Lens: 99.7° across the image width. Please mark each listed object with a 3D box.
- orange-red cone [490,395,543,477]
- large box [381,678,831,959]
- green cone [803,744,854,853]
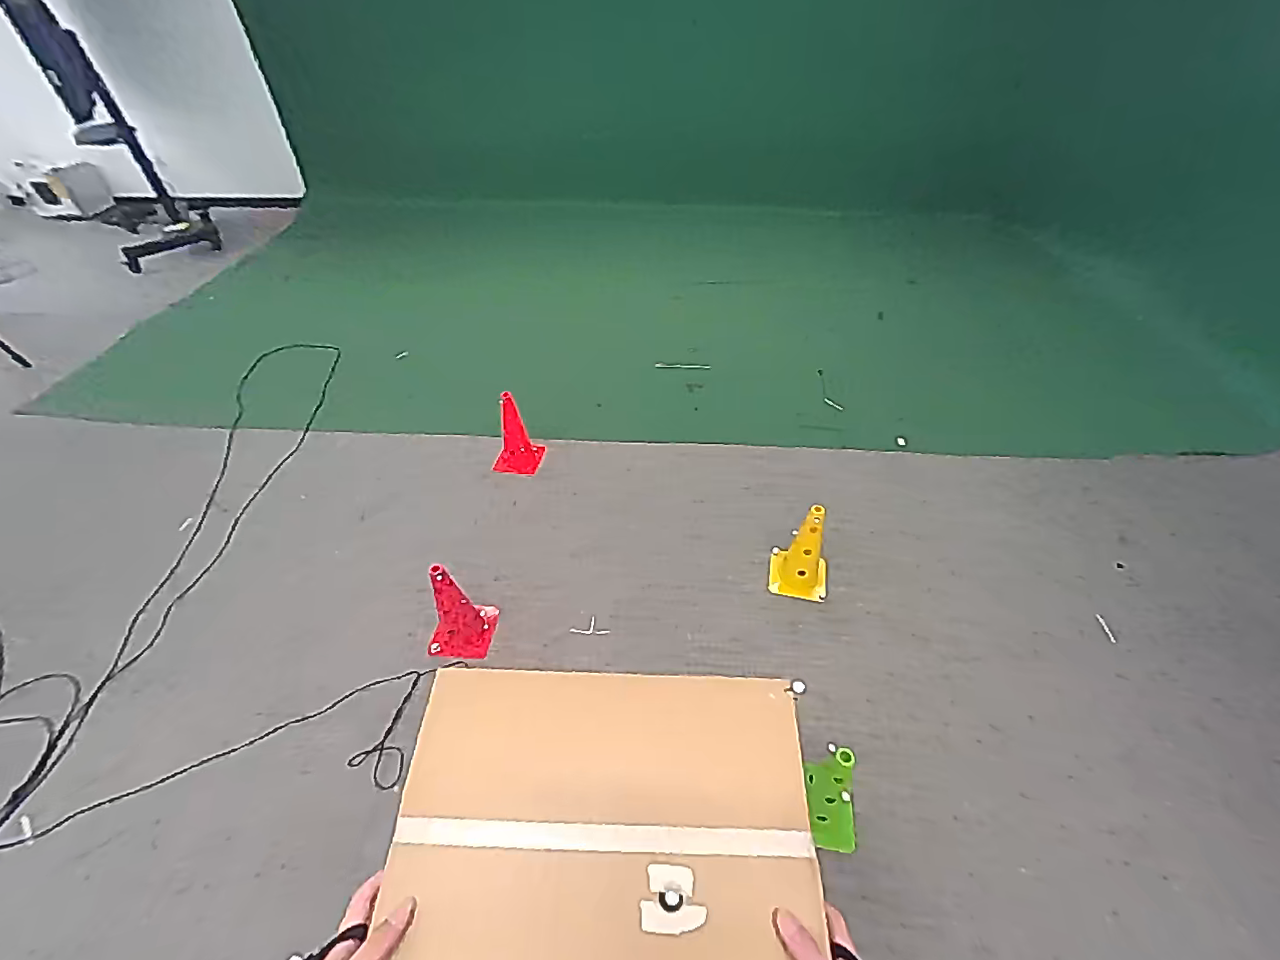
[{"bbox_3d":[-0.563,-0.210,2.331,0.199,0.360,0.198,6,44,9],"label":"orange-red cone"},{"bbox_3d":[-0.030,0.444,0.644,0.408,0.320,0.320,1,53,1],"label":"large box"},{"bbox_3d":[0.465,0.752,1.338,0.200,0.368,0.202,7,43,7],"label":"green cone"}]
